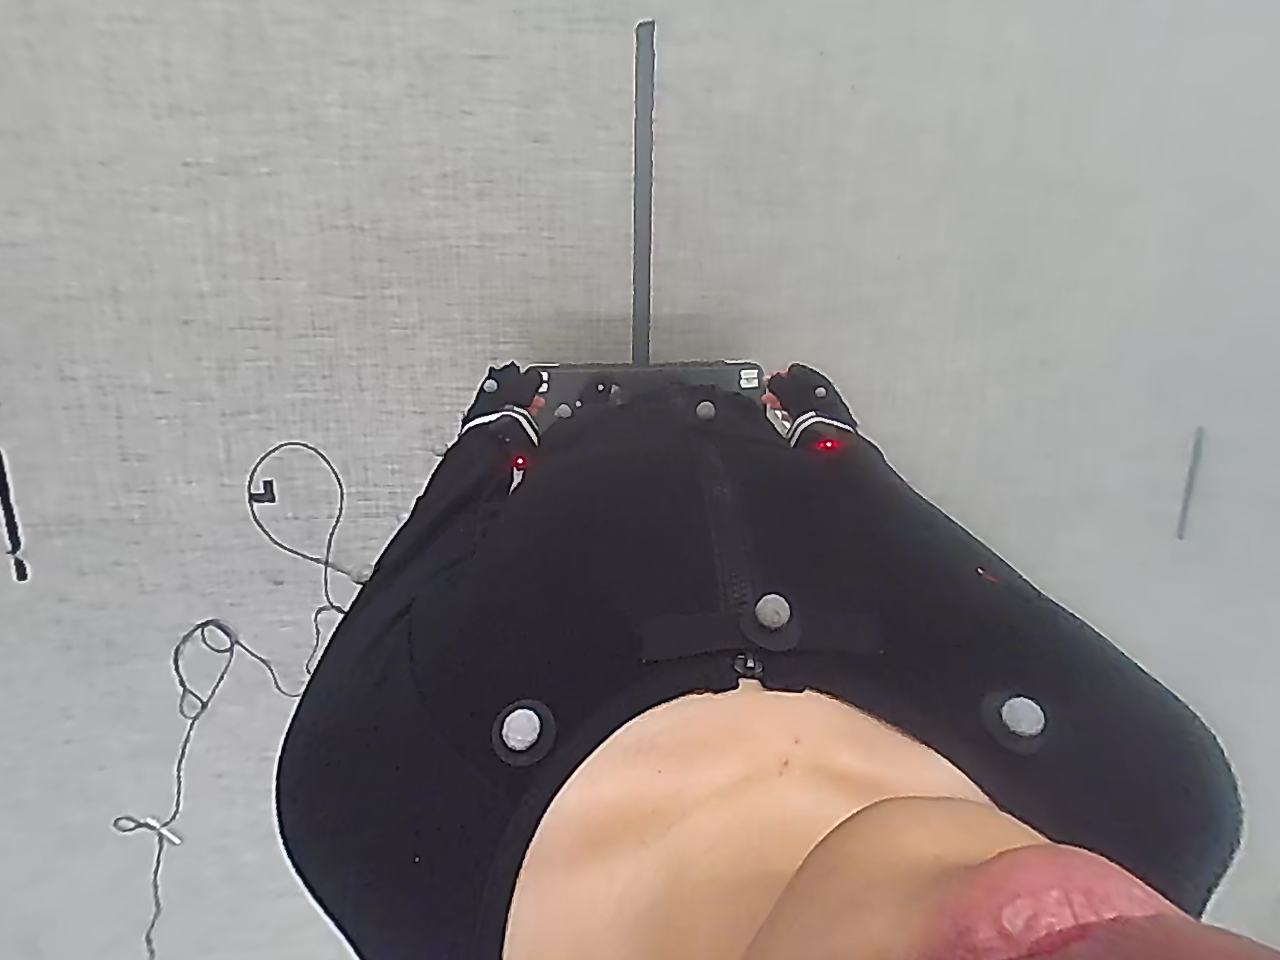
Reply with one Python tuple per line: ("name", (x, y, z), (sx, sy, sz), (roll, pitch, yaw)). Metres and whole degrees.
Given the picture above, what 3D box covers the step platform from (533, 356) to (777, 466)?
("step platform", (0.041, -0.200, 1.545), (0.684, 0.204, 0.286), (-3, 103, -4))
